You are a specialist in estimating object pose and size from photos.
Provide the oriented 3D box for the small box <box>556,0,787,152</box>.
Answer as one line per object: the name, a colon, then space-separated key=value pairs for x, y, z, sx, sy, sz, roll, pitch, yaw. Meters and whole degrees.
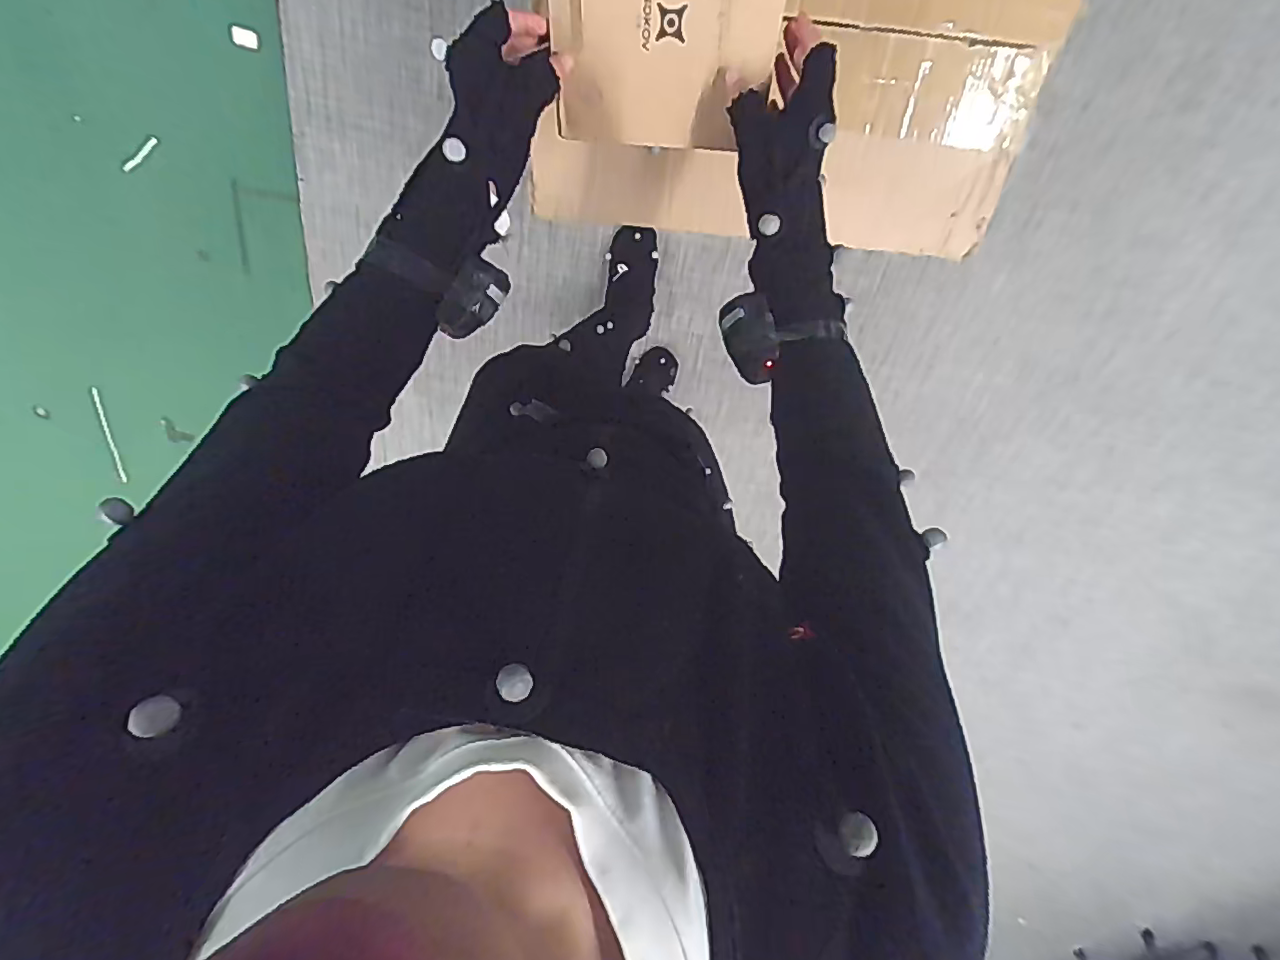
small box: x=0.027 y=-0.403 z=0.470 sx=0.179 sy=0.176 sz=0.168 roll=3 pitch=134 yaw=0
